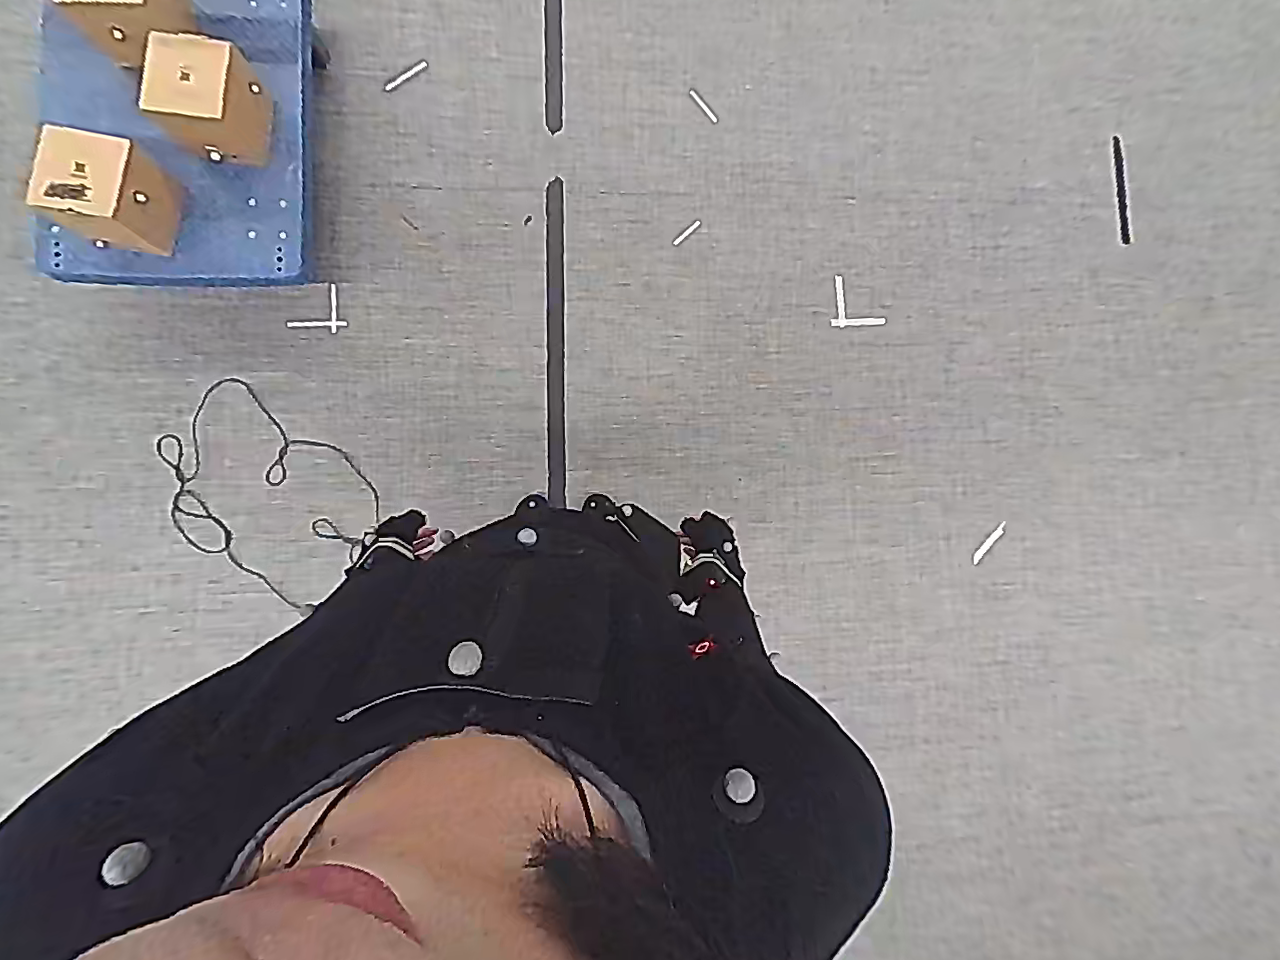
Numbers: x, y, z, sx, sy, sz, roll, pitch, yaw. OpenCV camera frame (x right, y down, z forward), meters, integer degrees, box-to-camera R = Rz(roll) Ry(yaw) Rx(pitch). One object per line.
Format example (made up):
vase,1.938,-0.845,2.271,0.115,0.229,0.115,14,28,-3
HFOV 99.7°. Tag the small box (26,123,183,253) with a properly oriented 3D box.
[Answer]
small box,-1.155,-0.627,1.183,0.168,0.176,0.179,9,85,-6

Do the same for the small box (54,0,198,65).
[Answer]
small box,-1.143,-1.071,1.212,0.179,0.176,0.168,-5,88,-6

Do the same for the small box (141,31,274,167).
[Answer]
small box,-0.962,-0.851,1.221,0.168,0.176,0.179,4,88,-4
